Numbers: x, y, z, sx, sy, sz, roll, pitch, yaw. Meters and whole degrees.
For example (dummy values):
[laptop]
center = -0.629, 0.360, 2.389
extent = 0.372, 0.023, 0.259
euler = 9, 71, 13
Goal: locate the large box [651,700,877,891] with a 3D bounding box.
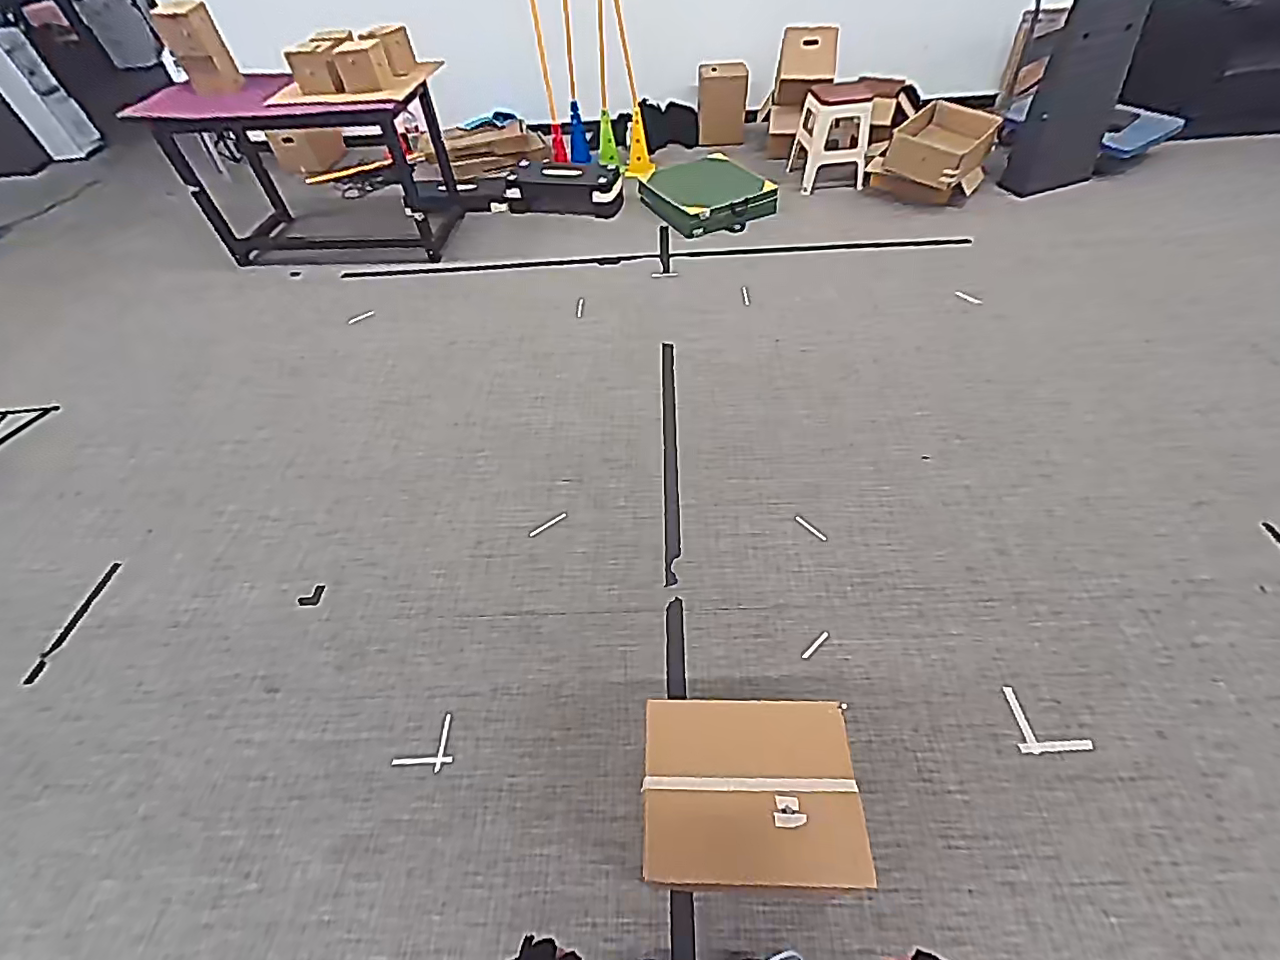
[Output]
[large box]
center = 0.227, 0.682, 1.161
extent = 0.408, 0.320, 0.320
euler = 0, 52, 3
